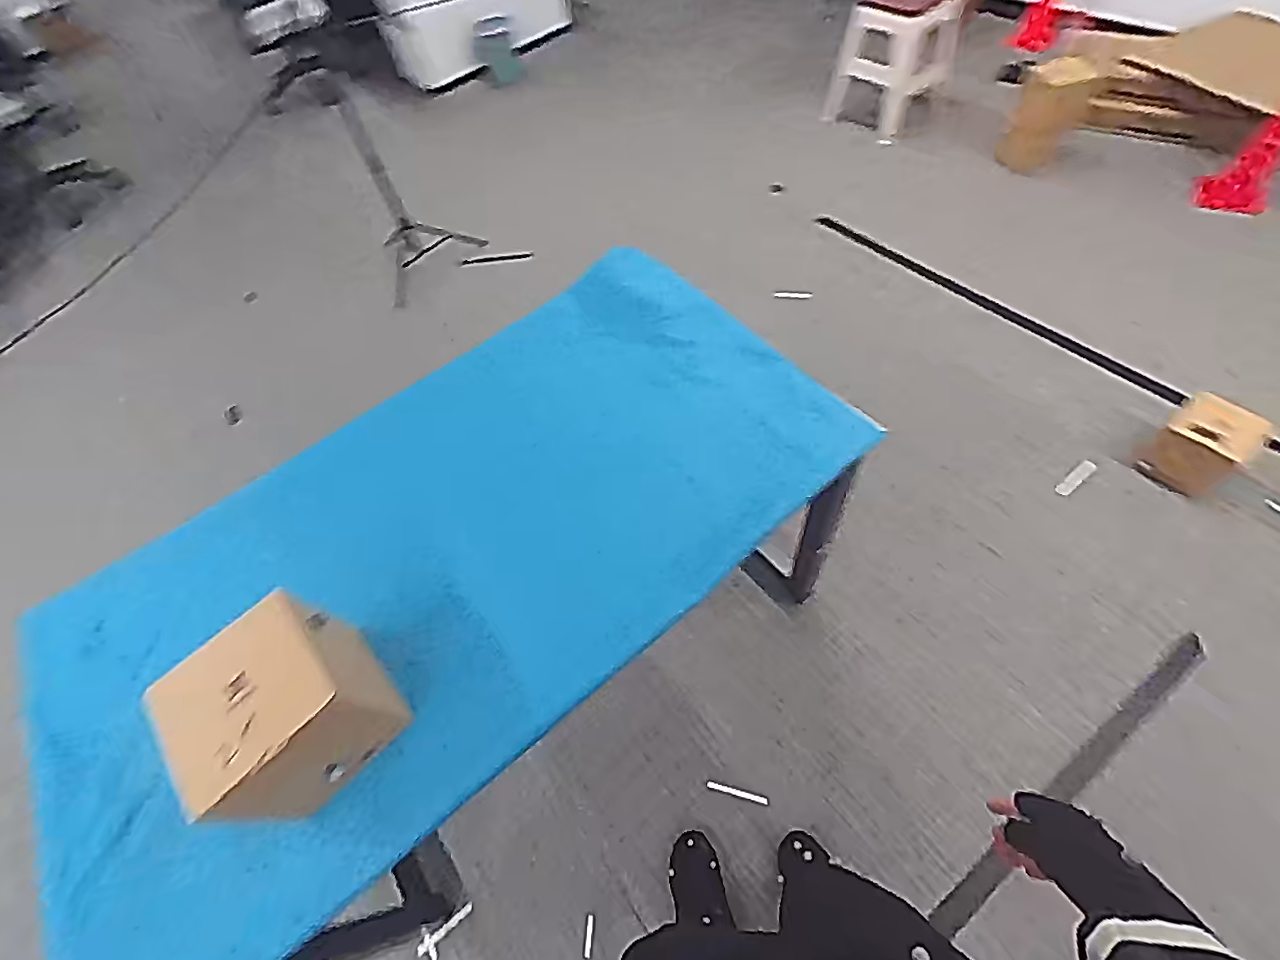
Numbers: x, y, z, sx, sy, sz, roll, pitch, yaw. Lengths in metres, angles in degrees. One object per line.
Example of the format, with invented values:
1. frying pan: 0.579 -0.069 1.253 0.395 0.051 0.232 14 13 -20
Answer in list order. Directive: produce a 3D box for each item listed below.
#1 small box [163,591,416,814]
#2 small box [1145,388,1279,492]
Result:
1. small box: -0.413 0.272 0.660 0.168 0.176 0.179 -39 63 -13
2. small box: 1.493 -0.099 1.417 0.179 0.176 0.168 -37 60 -14
